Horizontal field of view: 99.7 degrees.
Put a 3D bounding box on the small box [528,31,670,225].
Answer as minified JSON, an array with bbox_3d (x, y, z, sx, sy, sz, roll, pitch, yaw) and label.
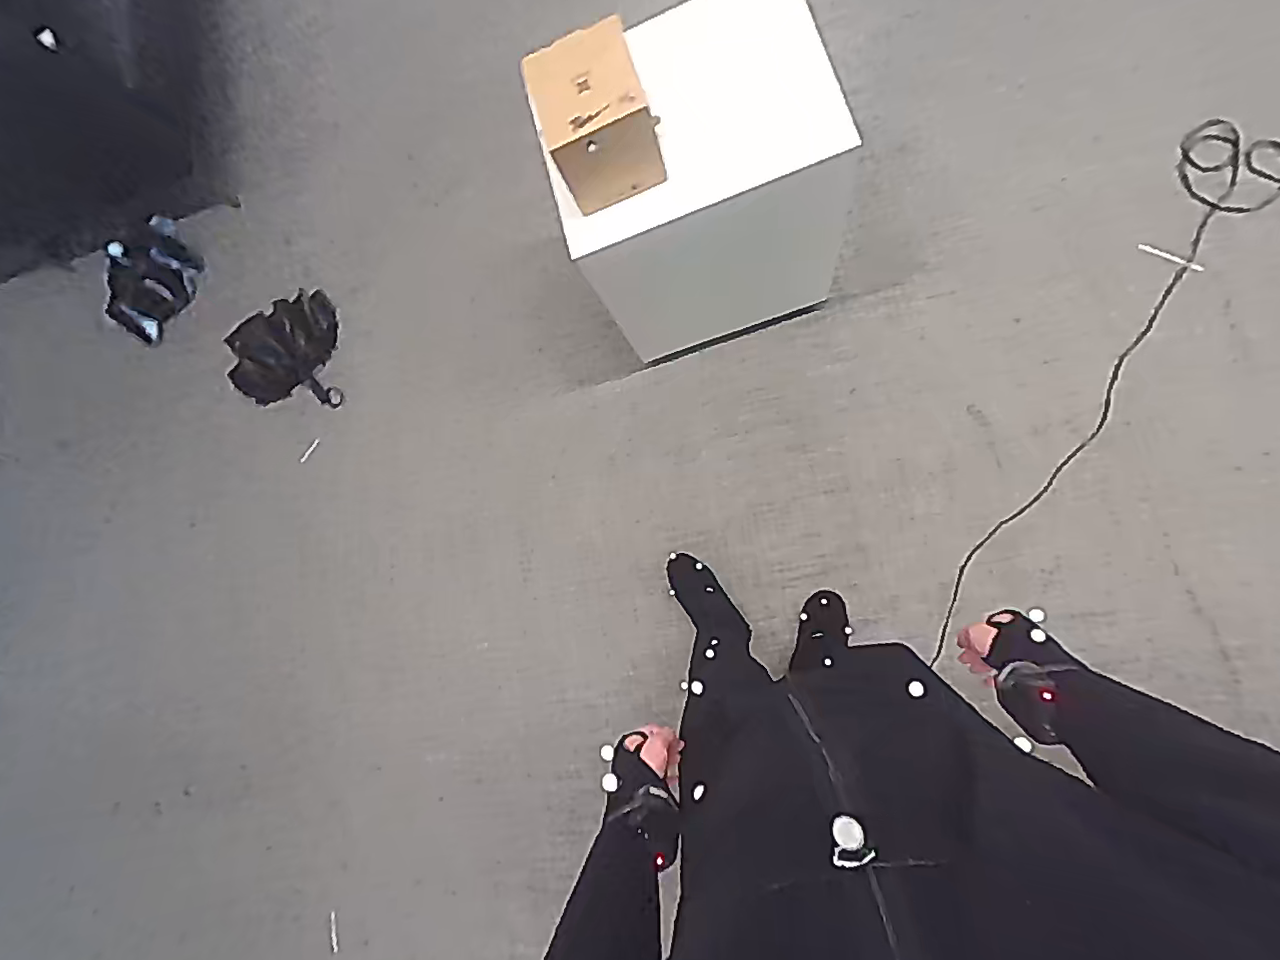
[{"bbox_3d":[-0.061,-0.570,0.897,0.168,0.176,0.179,-19,77,11],"label":"small box"}]
